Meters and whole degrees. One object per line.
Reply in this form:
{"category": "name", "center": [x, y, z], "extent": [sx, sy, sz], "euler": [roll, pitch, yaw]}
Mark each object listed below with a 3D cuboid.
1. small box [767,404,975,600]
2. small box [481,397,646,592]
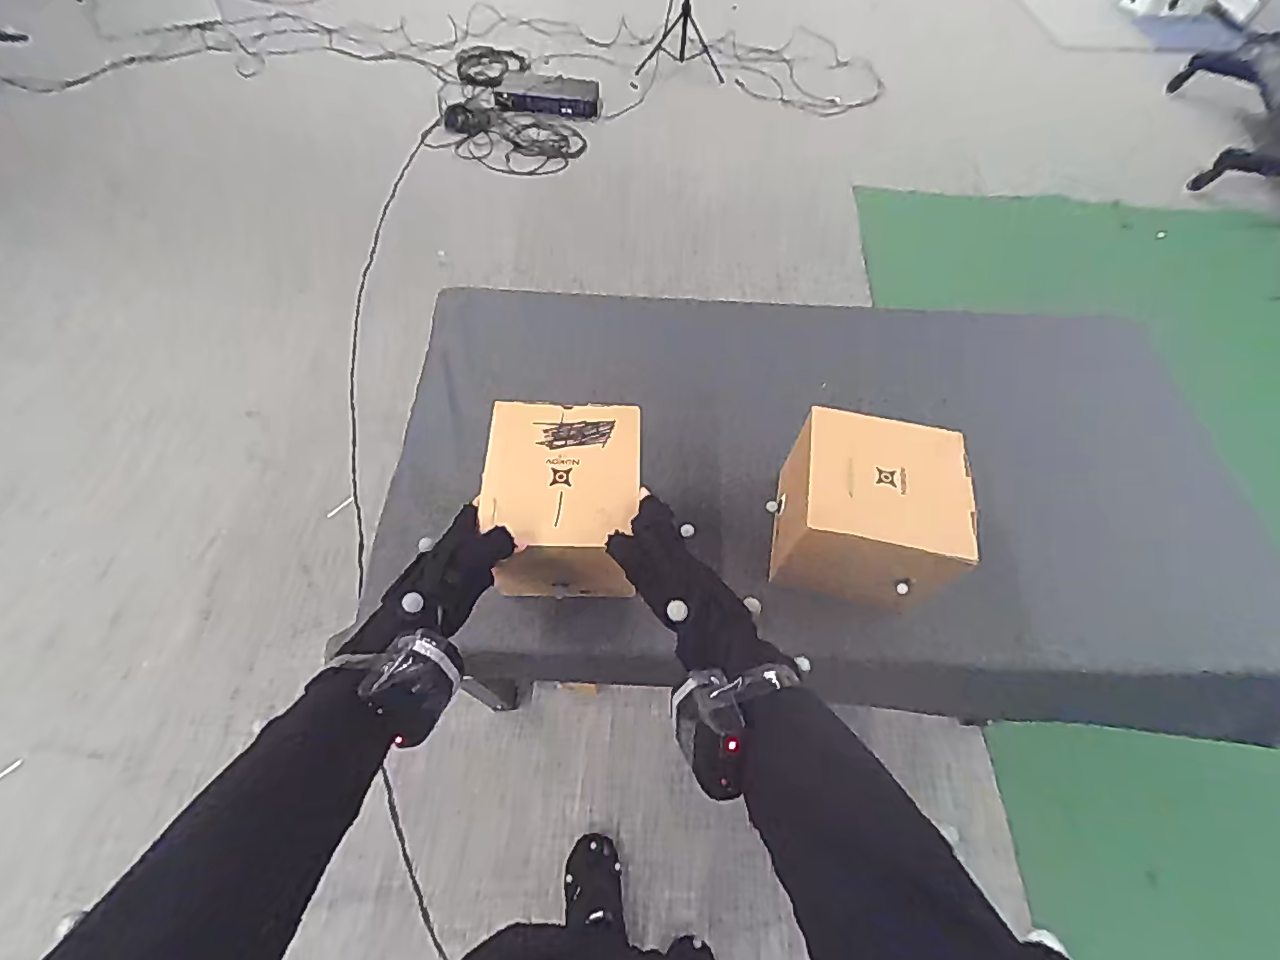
{"category": "small box", "center": [0.268, 0.035, 0.662], "extent": [0.179, 0.176, 0.168], "euler": [10, 59, 4]}
{"category": "small box", "center": [-0.080, 0.022, 0.646], "extent": [0.168, 0.176, 0.179], "euler": [1, 61, -2]}
